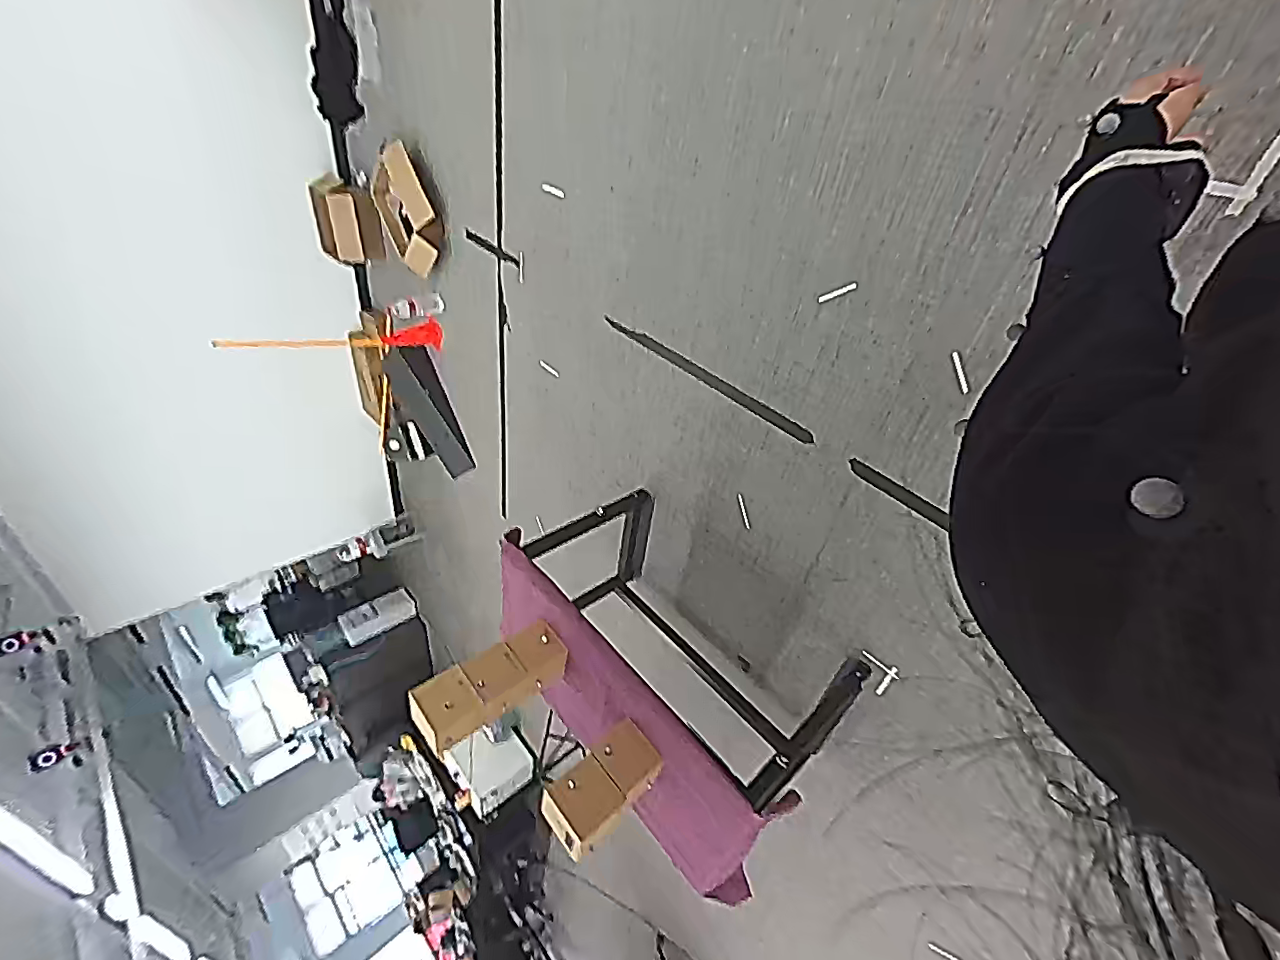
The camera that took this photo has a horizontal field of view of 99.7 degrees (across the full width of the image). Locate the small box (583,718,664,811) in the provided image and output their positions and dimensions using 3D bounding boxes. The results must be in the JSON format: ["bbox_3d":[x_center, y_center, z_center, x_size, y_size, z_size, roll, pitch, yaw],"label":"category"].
[{"bbox_3d":[-0.054,0.877,1.688,0.179,0.176,0.168,41,137,29],"label":"small box"}]

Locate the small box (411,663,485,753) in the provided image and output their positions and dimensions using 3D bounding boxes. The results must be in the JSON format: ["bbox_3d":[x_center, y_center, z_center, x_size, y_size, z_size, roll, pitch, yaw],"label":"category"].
[{"bbox_3d":[-0.609,0.722,1.731,0.168,0.176,0.179,42,137,27],"label":"small box"}]

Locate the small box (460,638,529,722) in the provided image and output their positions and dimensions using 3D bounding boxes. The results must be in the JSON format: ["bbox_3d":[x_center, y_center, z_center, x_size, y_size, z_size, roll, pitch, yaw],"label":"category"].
[{"bbox_3d":[-0.491,0.674,1.834,0.168,0.176,0.179,42,138,27],"label":"small box"}]

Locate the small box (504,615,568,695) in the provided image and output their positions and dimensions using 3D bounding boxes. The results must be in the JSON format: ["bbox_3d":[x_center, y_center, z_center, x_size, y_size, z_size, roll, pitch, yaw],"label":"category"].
[{"bbox_3d":[-0.373,0.623,1.935,0.168,0.176,0.179,40,136,29],"label":"small box"}]
